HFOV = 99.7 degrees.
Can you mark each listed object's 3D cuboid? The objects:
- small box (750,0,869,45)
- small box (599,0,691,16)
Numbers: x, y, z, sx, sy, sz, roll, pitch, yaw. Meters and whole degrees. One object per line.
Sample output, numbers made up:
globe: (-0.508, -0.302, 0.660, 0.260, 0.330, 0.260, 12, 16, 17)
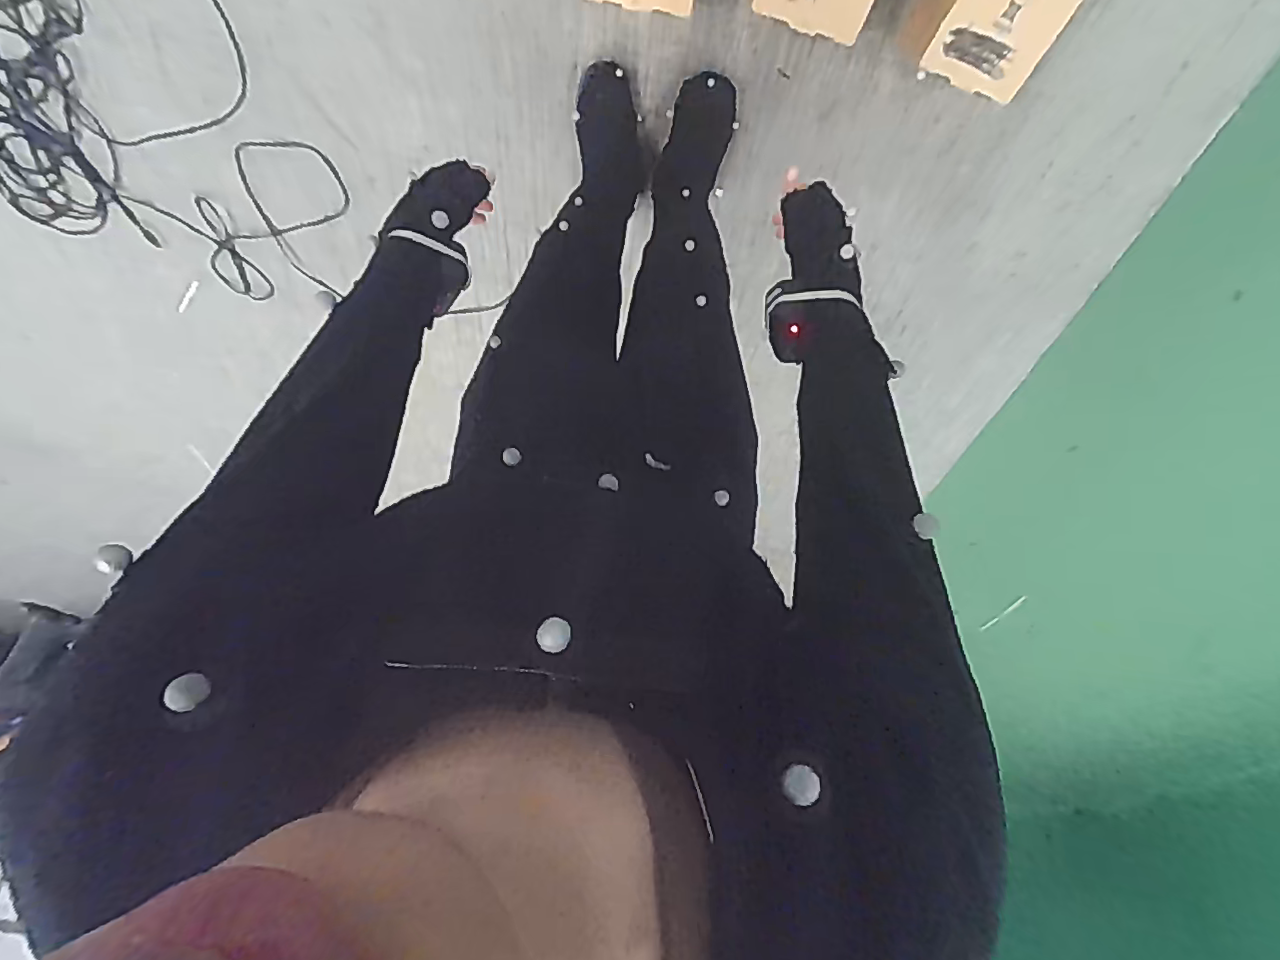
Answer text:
small box: (0.263, -0.780, 0.784, 0.168, 0.176, 0.179, 14, 139, -7)
small box: (0.008, -0.813, 0.784, 0.168, 0.176, 0.179, 8, 139, -2)
